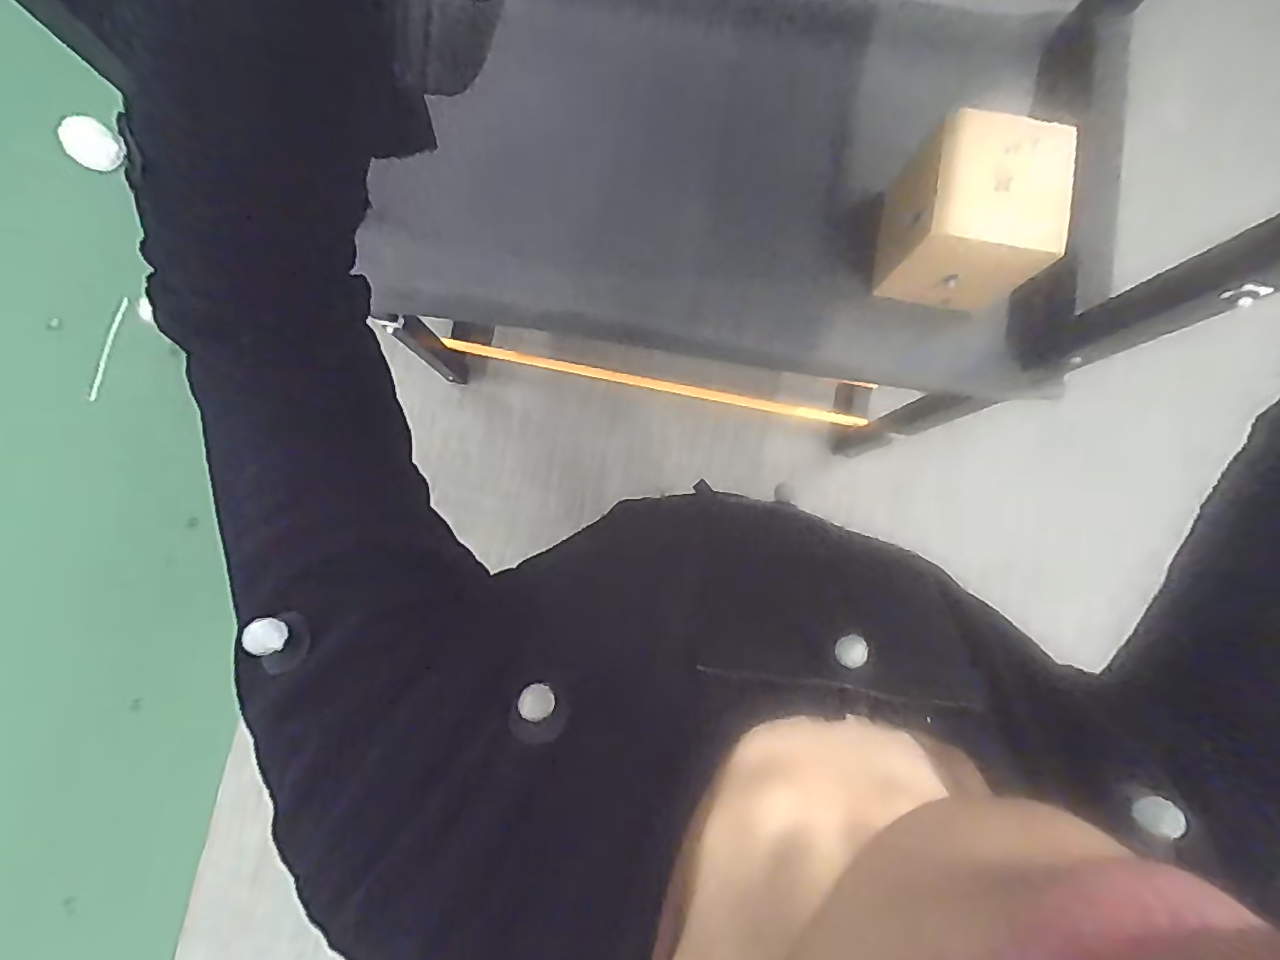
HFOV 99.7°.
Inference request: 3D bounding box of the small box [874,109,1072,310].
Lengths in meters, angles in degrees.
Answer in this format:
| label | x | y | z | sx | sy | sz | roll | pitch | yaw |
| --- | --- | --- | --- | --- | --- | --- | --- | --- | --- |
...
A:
| label | x | y | z | sx | sy | sz | roll | pitch | yaw |
| --- | --- | --- | --- | --- | --- | --- | --- | --- | --- |
| small box | 0.445 | -0.359 | 0.748 | 0.168 | 0.176 | 0.179 | 10 | 82 | 1 |
